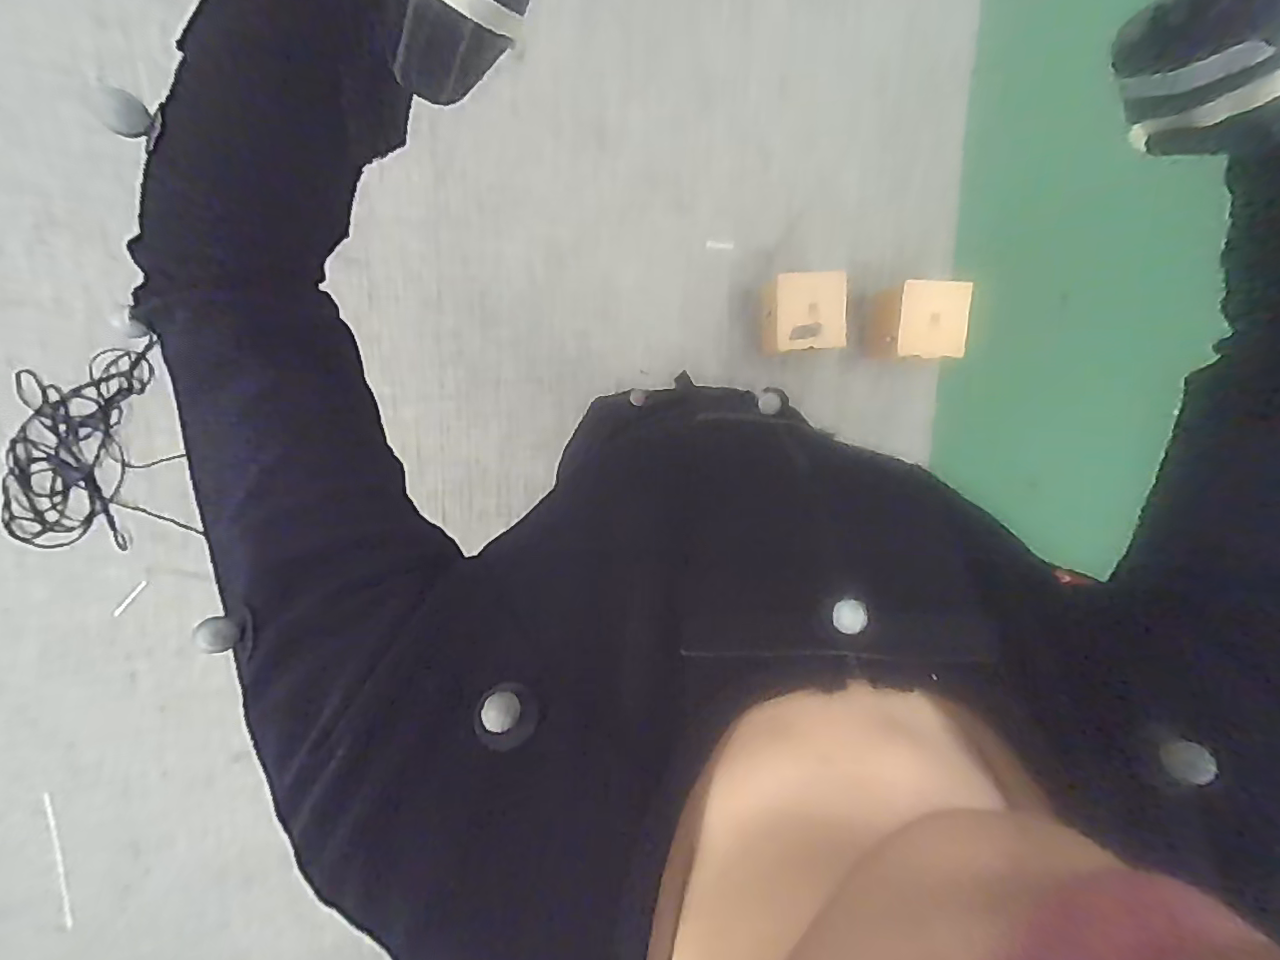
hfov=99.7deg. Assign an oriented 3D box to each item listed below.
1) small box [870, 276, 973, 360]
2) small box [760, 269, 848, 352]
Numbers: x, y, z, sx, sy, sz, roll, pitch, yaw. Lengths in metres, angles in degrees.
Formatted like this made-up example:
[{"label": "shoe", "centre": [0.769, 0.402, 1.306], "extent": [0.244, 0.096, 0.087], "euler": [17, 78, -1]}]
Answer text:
[{"label": "small box", "centre": [0.691, -0.397, 1.345], "extent": [0.168, 0.176, 0.179], "euler": [1, 99, -1]}, {"label": "small box", "centre": [0.398, -0.411, 1.334], "extent": [0.168, 0.176, 0.179], "euler": [-3, 98, -1]}]
